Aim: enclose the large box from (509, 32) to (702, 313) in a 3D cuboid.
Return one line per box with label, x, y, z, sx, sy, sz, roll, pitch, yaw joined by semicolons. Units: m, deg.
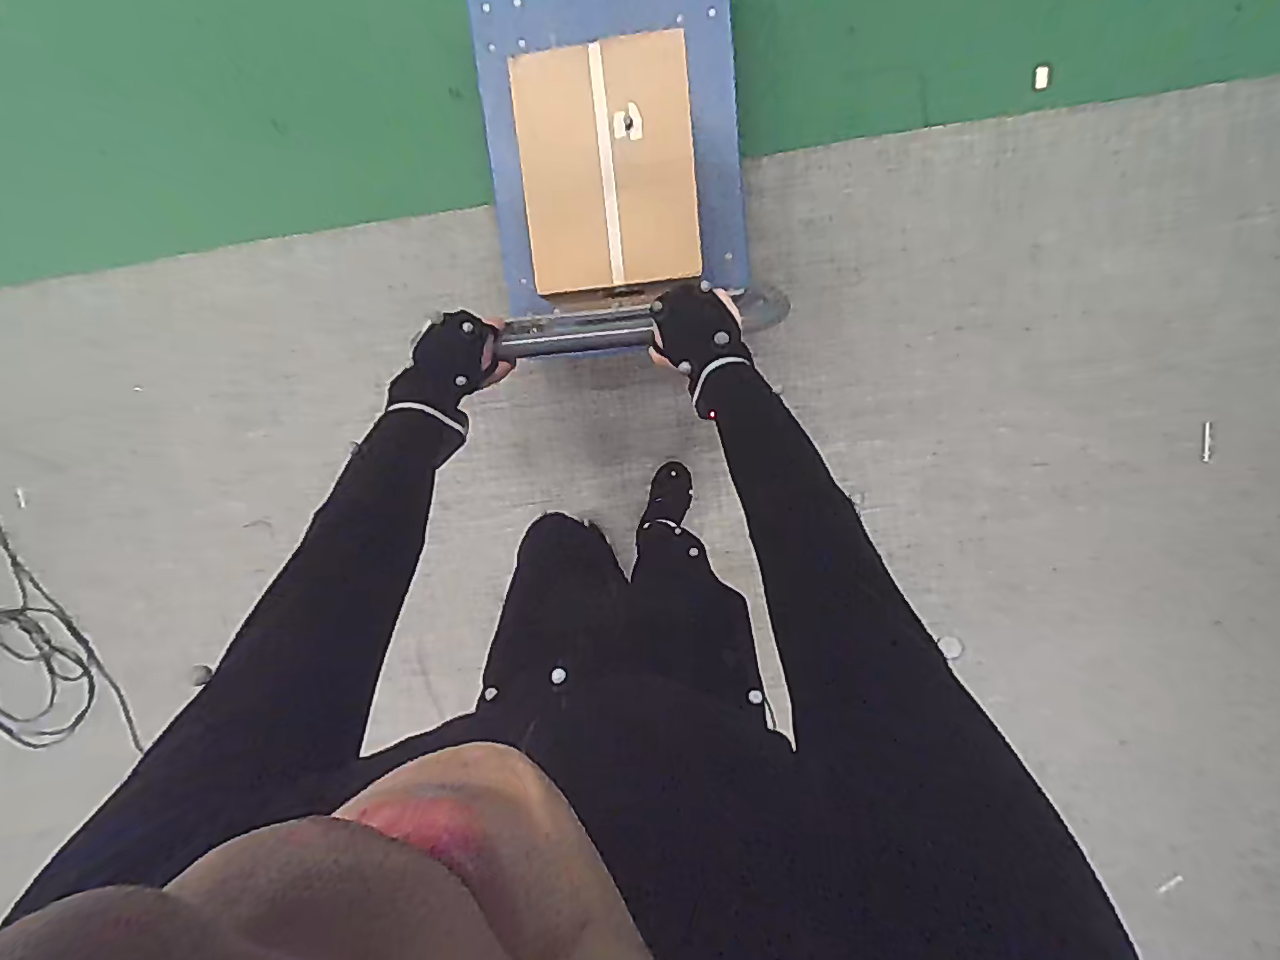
large box;-0.046;-0.585;1.115;0.320;0.320;0.408;-4;100;5
